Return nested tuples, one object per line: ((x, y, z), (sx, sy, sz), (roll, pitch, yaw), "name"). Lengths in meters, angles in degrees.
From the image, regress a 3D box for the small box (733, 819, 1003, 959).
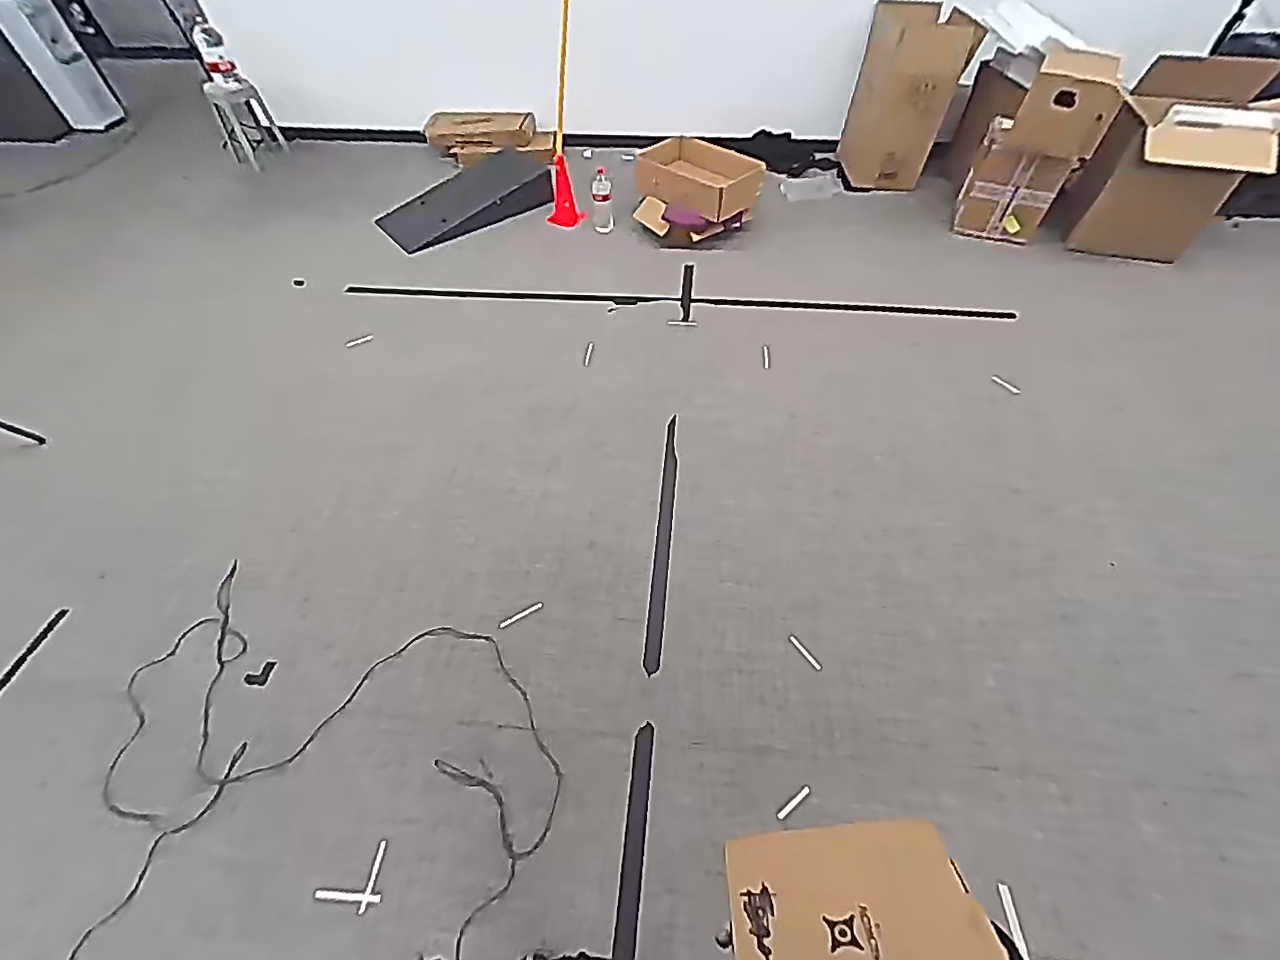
((0.175, 0.402, 0.415), (0.179, 0.176, 0.168), (-10, 16, 7), "small box")
